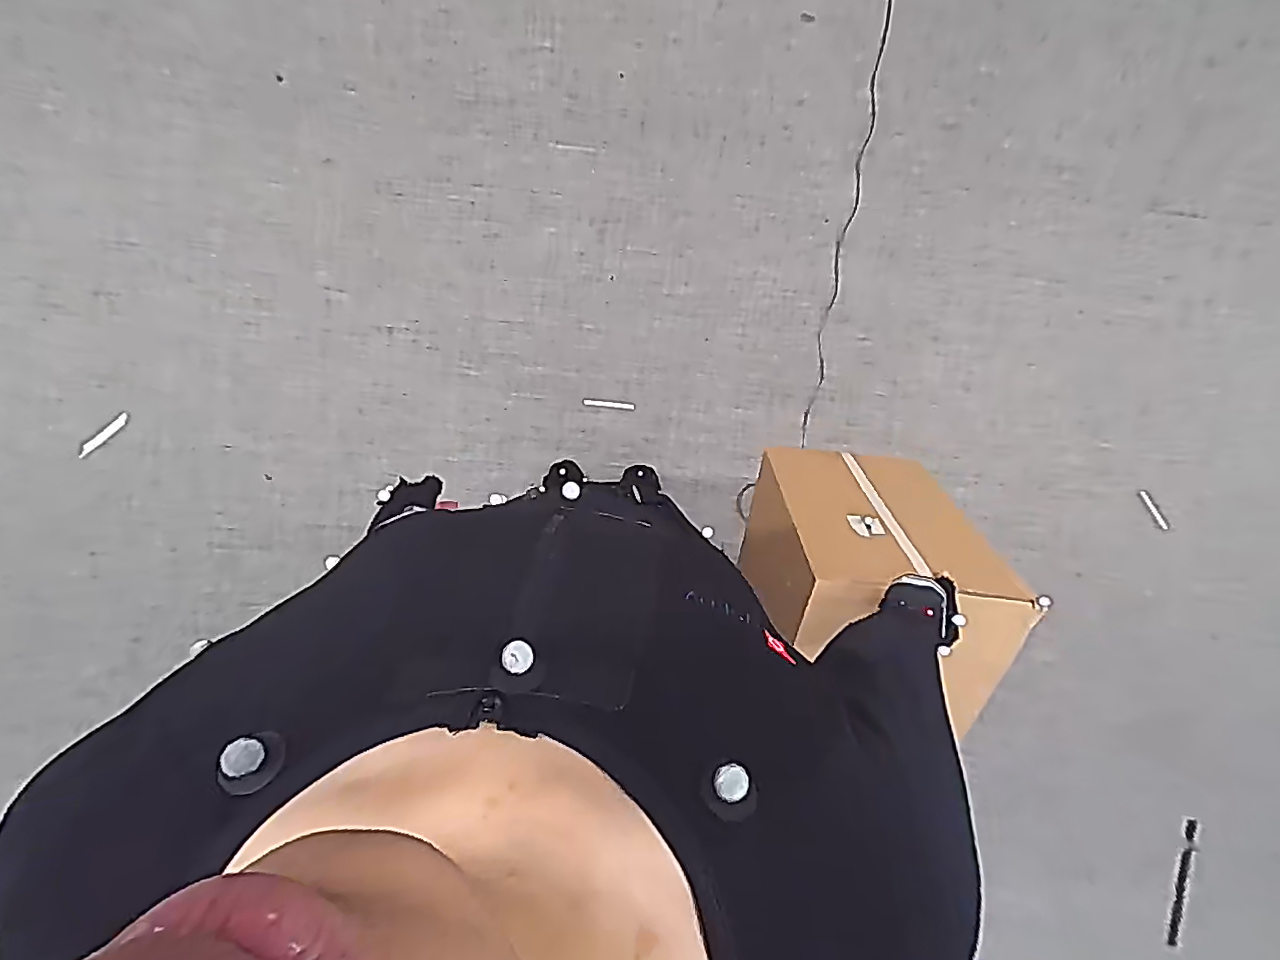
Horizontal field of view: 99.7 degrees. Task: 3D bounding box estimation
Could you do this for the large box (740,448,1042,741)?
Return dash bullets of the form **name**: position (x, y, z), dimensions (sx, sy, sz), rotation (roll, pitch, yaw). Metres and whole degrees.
- **large box**: position (0.384, 0.183, 0.973), dimensions (0.320, 0.408, 0.320), rotation (6, 121, -1)
